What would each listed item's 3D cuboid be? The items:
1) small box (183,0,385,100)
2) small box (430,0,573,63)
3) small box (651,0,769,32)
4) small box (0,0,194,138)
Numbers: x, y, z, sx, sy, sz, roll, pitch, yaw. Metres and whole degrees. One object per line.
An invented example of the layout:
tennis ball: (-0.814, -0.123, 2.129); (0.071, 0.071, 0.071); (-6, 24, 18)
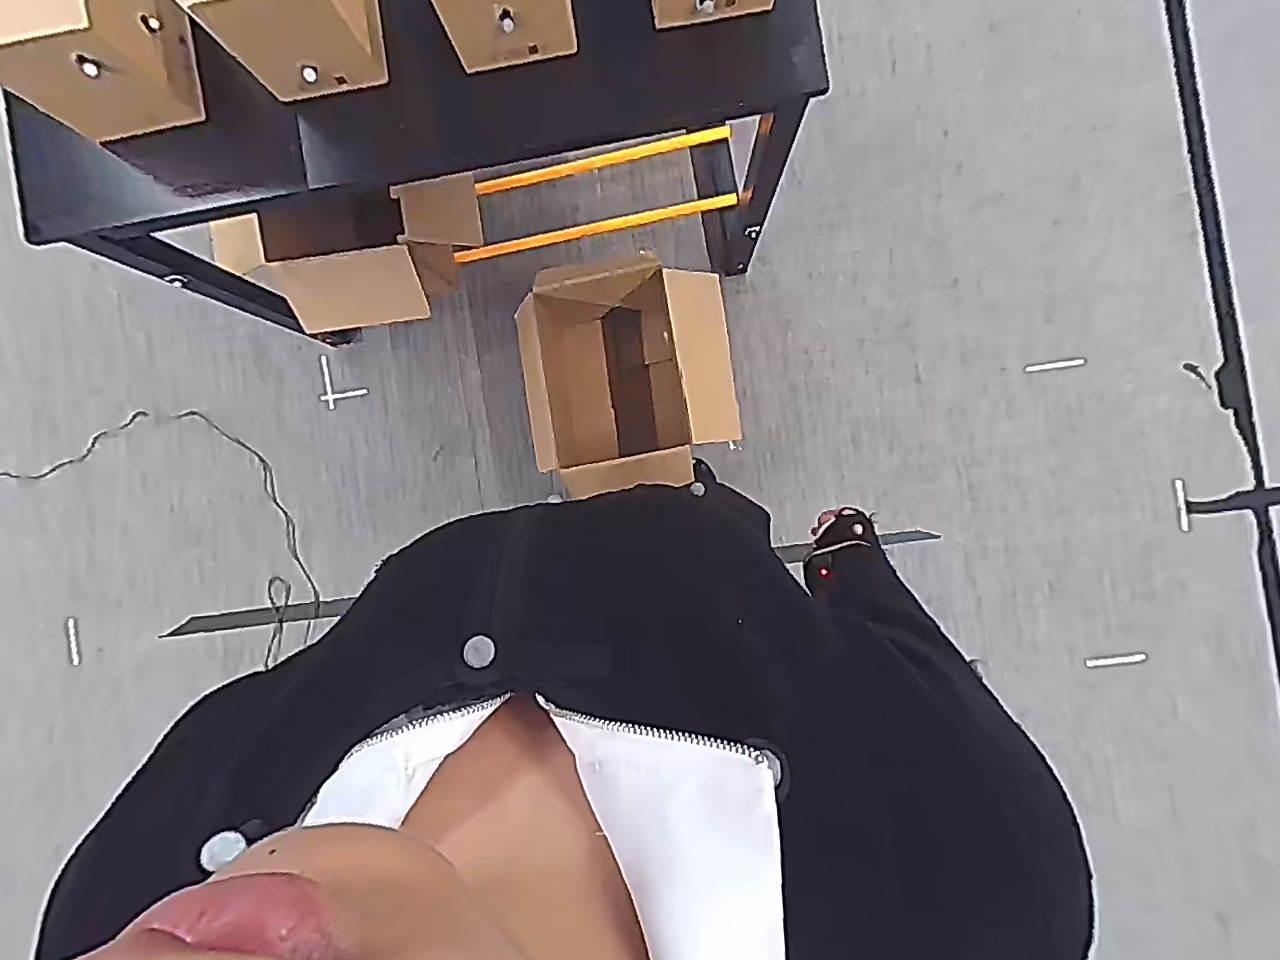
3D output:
small box: (-0.463, -0.650, 0.709); (0.168, 0.176, 0.179); (-8, 90, 3)
small box: (-0.189, -0.683, 0.698); (0.168, 0.176, 0.179); (-9, 90, 3)
small box: (0.084, -0.730, 0.685); (0.168, 0.176, 0.179); (-8, 90, 4)
small box: (-0.743, -0.598, 0.720); (0.179, 0.176, 0.168); (-10, 89, 2)
